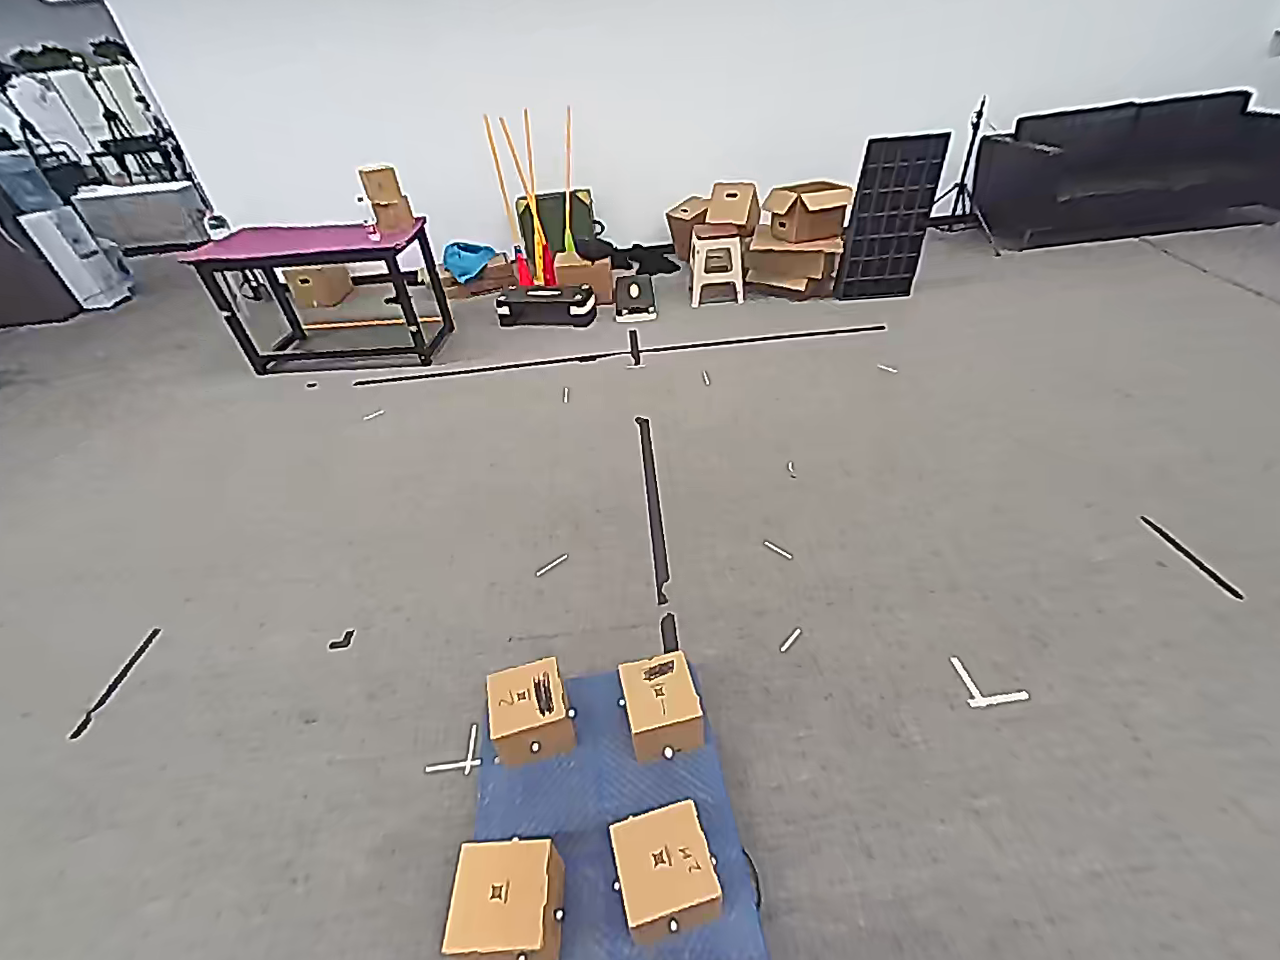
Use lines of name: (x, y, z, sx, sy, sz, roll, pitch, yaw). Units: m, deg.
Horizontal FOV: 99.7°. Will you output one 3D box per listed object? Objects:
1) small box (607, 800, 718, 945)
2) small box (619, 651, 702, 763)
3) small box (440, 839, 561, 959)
small box: (0.045, 0.766, 1.052, 0.179, 0.176, 0.168, -13, 40, -9)
small box: (0.047, 0.551, 1.313, 0.168, 0.176, 0.179, -11, 41, -7)
small box: (-0.255, 0.812, 1.032, 0.179, 0.176, 0.168, -3, 39, 0)
